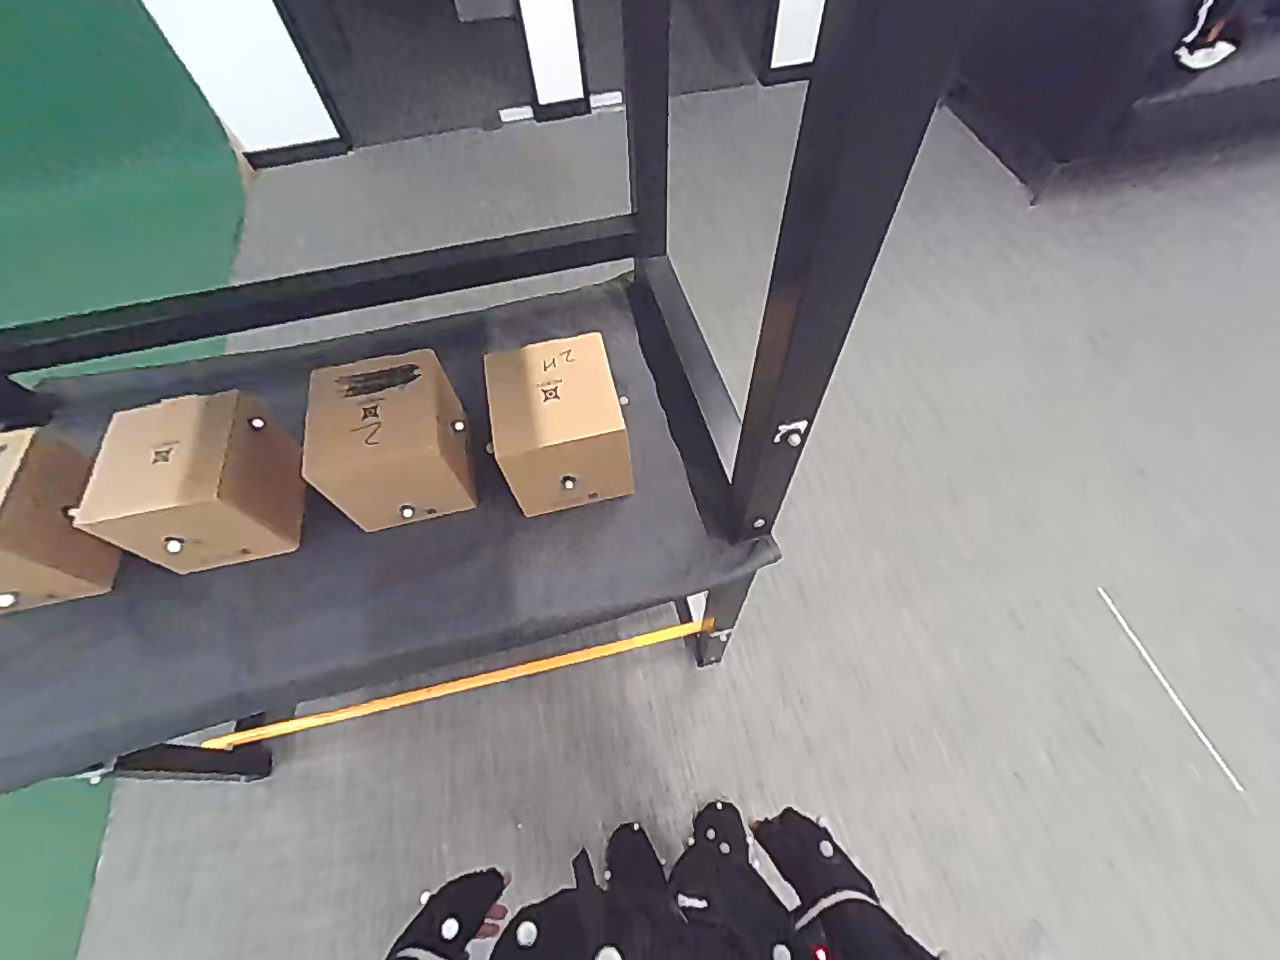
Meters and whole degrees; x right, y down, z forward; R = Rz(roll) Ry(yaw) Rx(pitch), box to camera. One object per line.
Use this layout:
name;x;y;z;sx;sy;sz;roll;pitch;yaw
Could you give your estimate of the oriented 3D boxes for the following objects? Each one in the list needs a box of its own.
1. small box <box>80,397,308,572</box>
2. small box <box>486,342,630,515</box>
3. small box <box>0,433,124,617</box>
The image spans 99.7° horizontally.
small box;-0.596;0.015;0.753;0.168;0.176;0.179;-11;59;-5
small box;-0.112;-0.065;0.776;0.168;0.176;0.179;-12;59;-5
small box;-0.843;0.065;0.730;0.168;0.176;0.179;-11;60;-4
